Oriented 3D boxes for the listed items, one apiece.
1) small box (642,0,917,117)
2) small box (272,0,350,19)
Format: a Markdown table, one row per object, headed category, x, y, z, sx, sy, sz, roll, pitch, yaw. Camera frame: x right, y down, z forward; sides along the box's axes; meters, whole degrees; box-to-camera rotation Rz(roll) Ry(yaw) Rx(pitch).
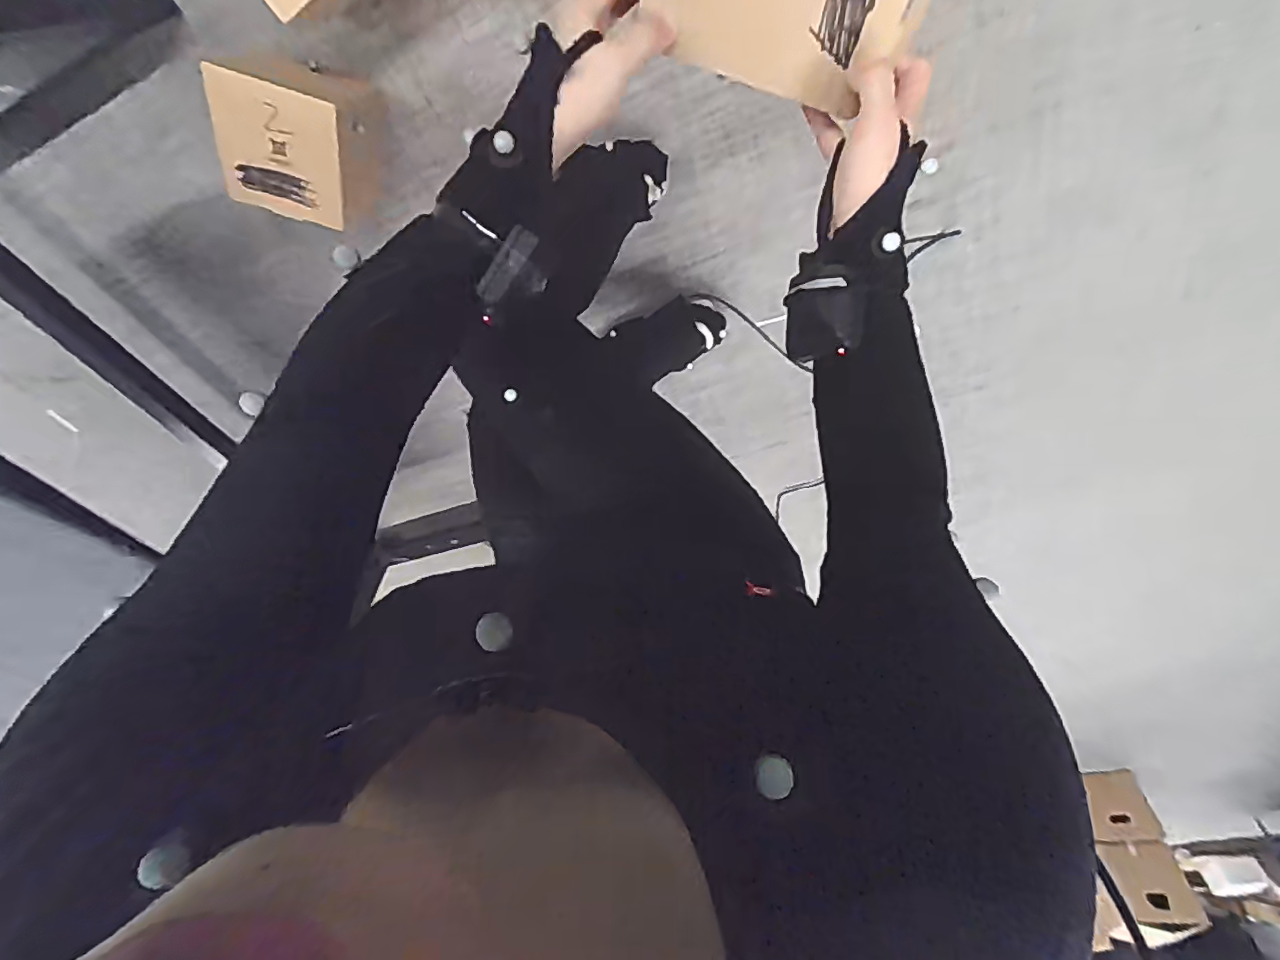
| category | x | y | z | sx | sy | sz | roll | pitch | yaw |
| --- | --- | --- | --- | --- | --- | --- | --- | --- | --- |
| small box | 0.108 | -0.405 | 0.390 | 0.179 | 0.176 | 0.168 | 12 | 139 | -11 |
| small box | -0.395 | -0.697 | 0.637 | 0.179 | 0.176 | 0.168 | -21 | 130 | 21 |
